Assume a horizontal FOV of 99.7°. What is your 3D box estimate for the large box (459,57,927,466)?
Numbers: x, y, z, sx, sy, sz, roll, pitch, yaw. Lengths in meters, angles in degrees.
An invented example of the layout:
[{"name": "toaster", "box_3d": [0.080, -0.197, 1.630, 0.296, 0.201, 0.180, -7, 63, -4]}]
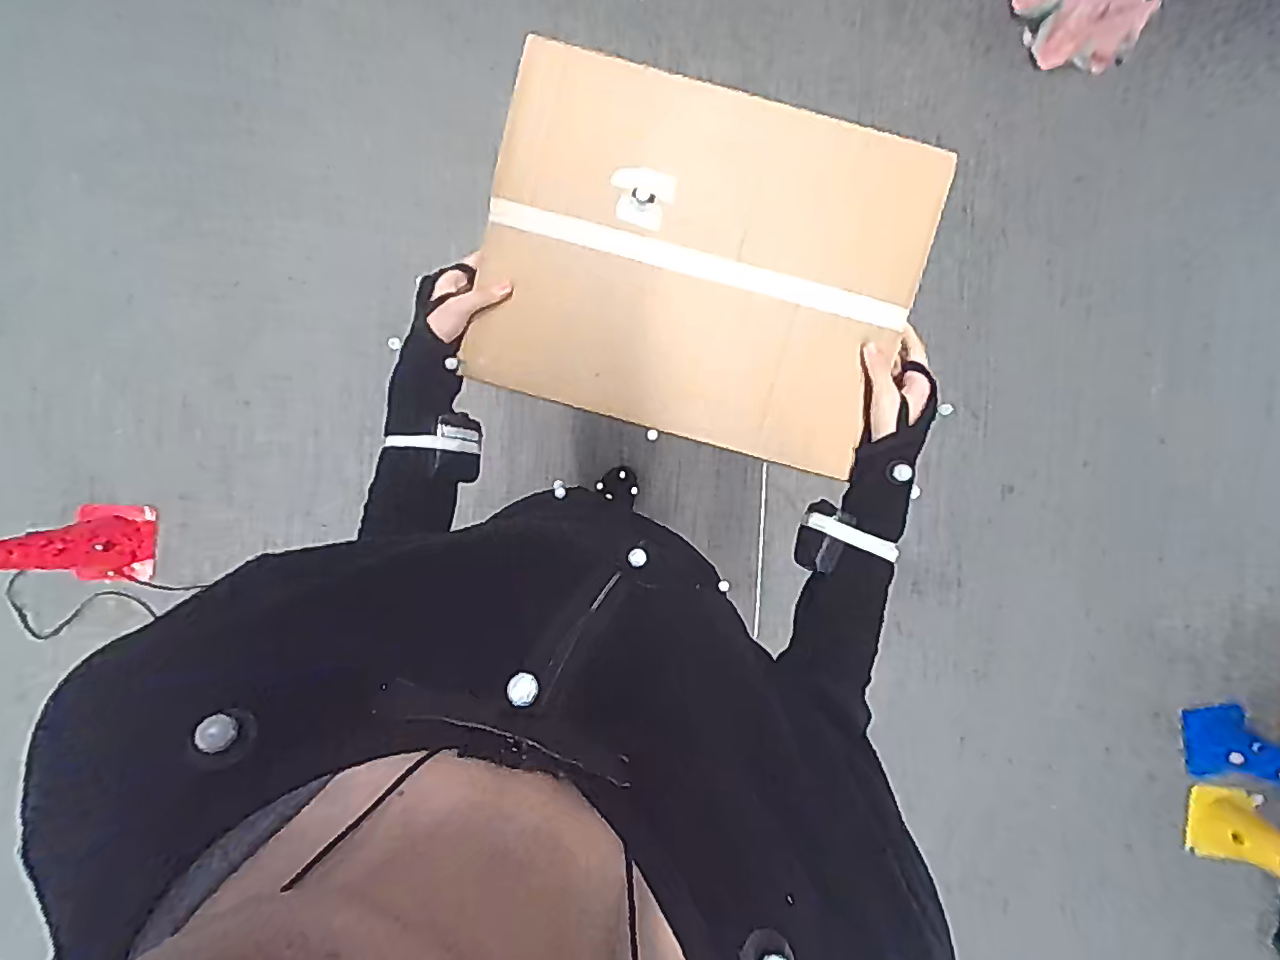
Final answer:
[{"name": "large box", "box_3d": [0.050, -0.225, 0.673, 0.408, 0.320, 0.320, 15, 97, 0]}]
